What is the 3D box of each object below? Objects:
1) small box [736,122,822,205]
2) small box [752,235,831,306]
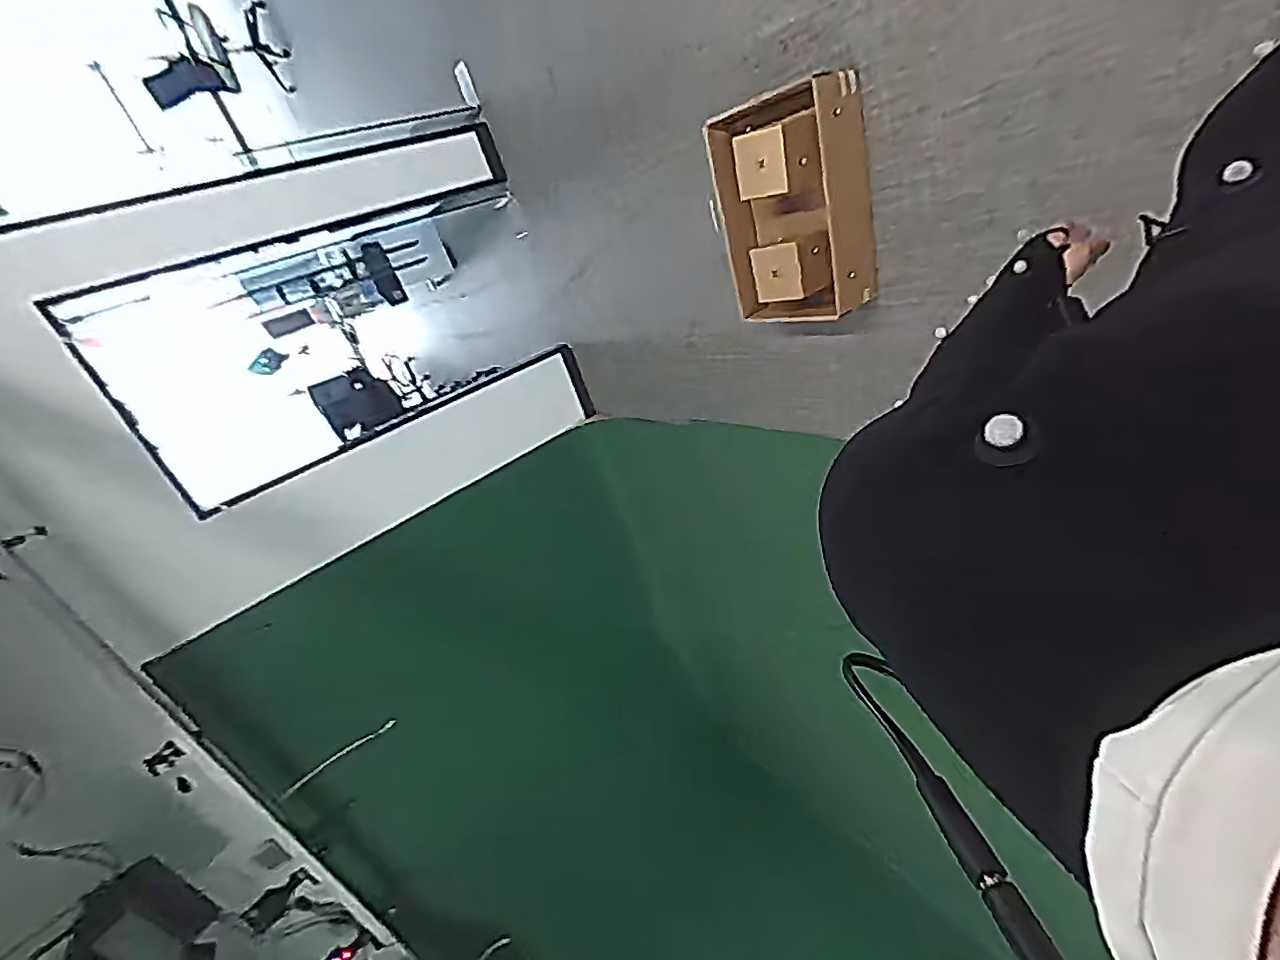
[{"bbox_3d":[0.409,-0.914,1.564,0.179,0.176,0.168,22,136,48],"label":"small box"},{"bbox_3d":[0.483,-0.656,1.698,0.179,0.176,0.168,19,132,51],"label":"small box"}]
